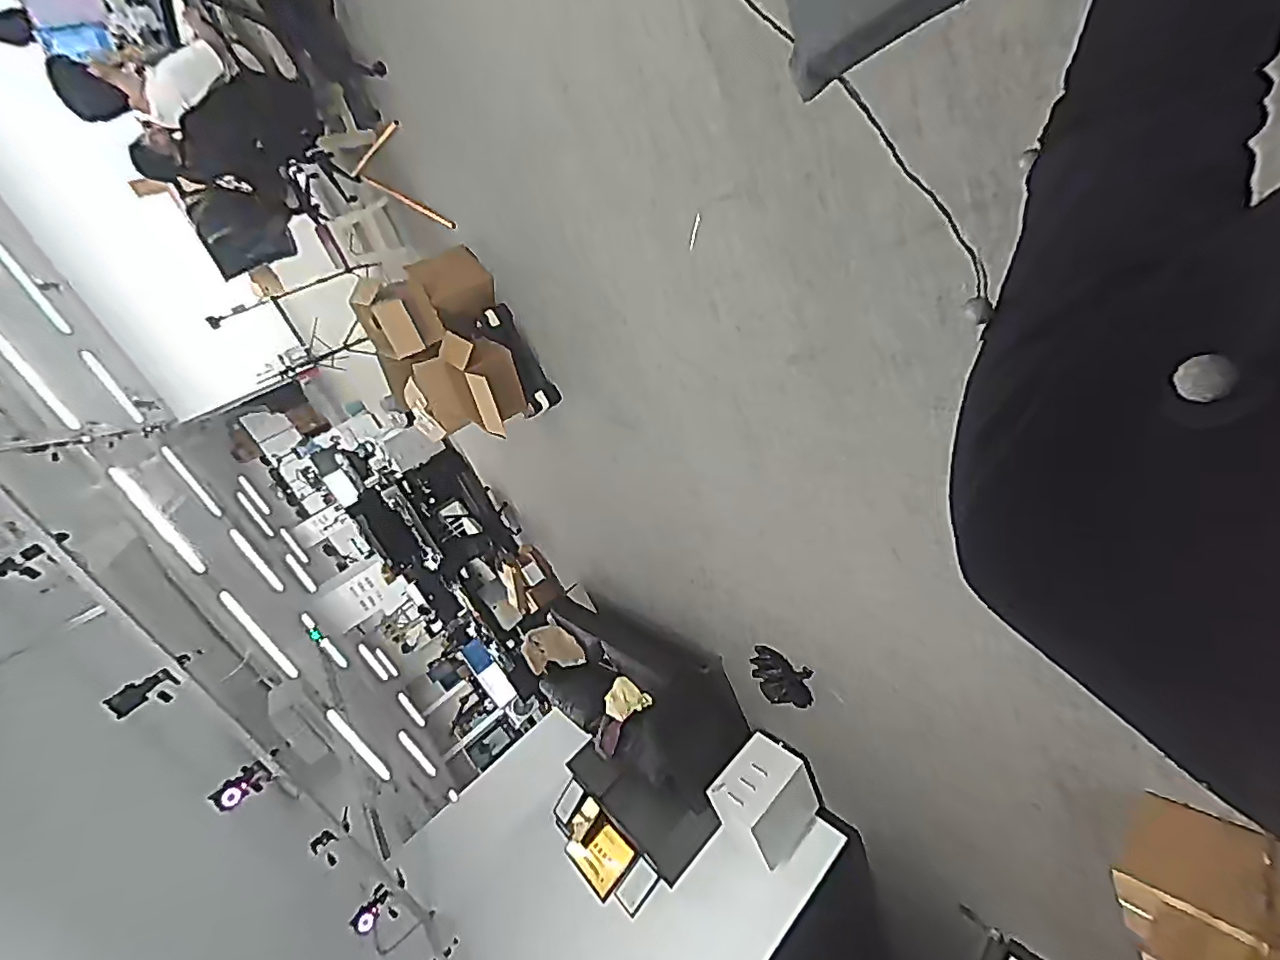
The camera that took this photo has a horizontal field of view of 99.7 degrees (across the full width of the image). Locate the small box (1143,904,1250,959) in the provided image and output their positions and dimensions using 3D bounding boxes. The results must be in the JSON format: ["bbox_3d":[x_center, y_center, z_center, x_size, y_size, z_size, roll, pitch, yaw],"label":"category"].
[{"bbox_3d":[1.514,1.318,1.466,0.179,0.176,0.168,5,125,58],"label":"small box"}]
